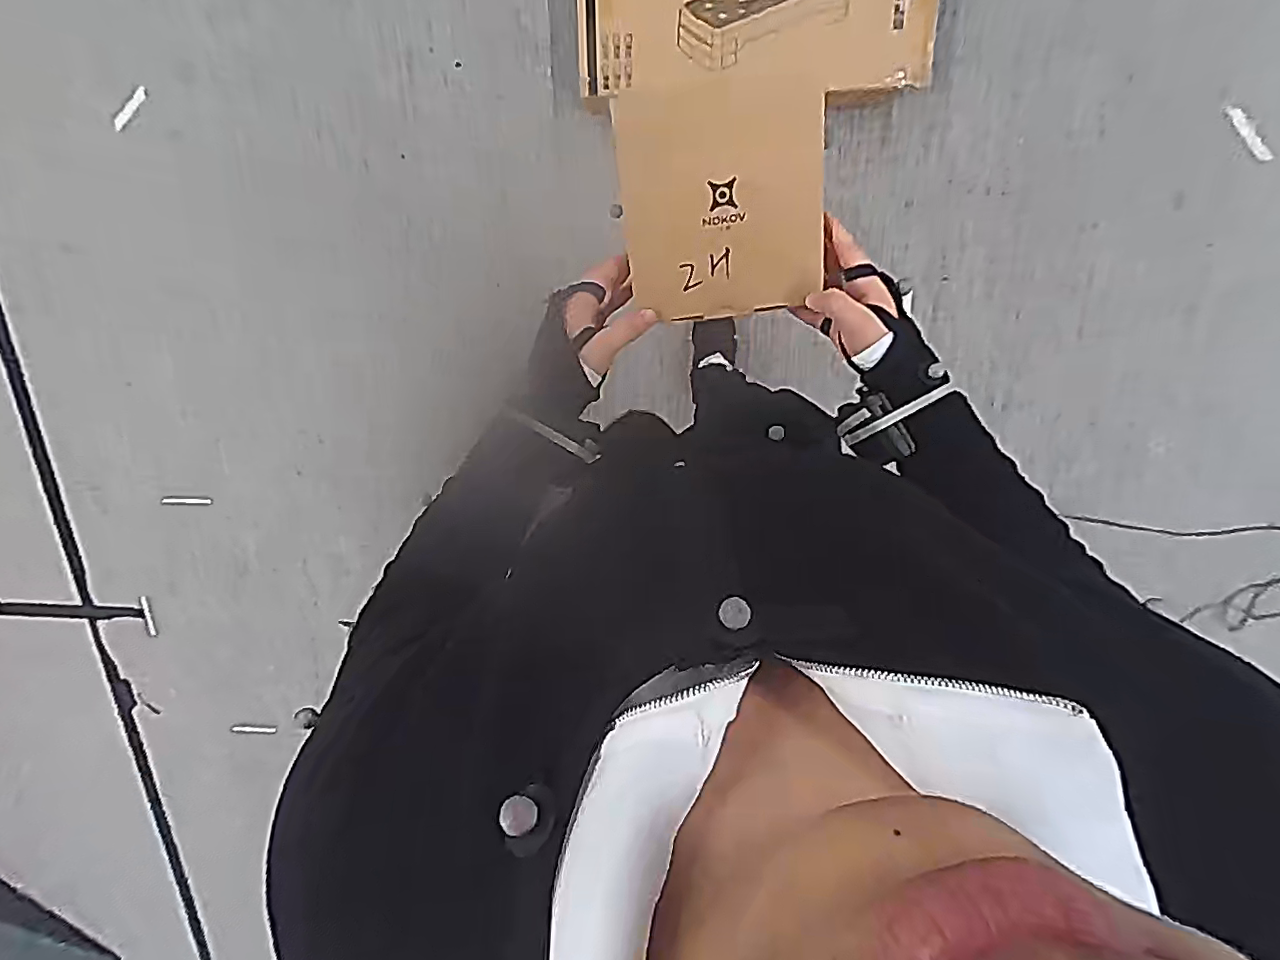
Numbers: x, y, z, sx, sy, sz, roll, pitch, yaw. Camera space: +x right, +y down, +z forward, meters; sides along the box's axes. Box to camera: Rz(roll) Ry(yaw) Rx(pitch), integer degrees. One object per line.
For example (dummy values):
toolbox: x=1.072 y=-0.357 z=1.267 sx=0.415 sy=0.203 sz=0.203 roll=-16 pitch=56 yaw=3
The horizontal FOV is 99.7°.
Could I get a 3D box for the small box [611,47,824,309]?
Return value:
small box: x=0.069 y=-0.267 z=0.513 sx=0.168 sy=0.176 sz=0.179 roll=-5 pitch=113 yaw=6
